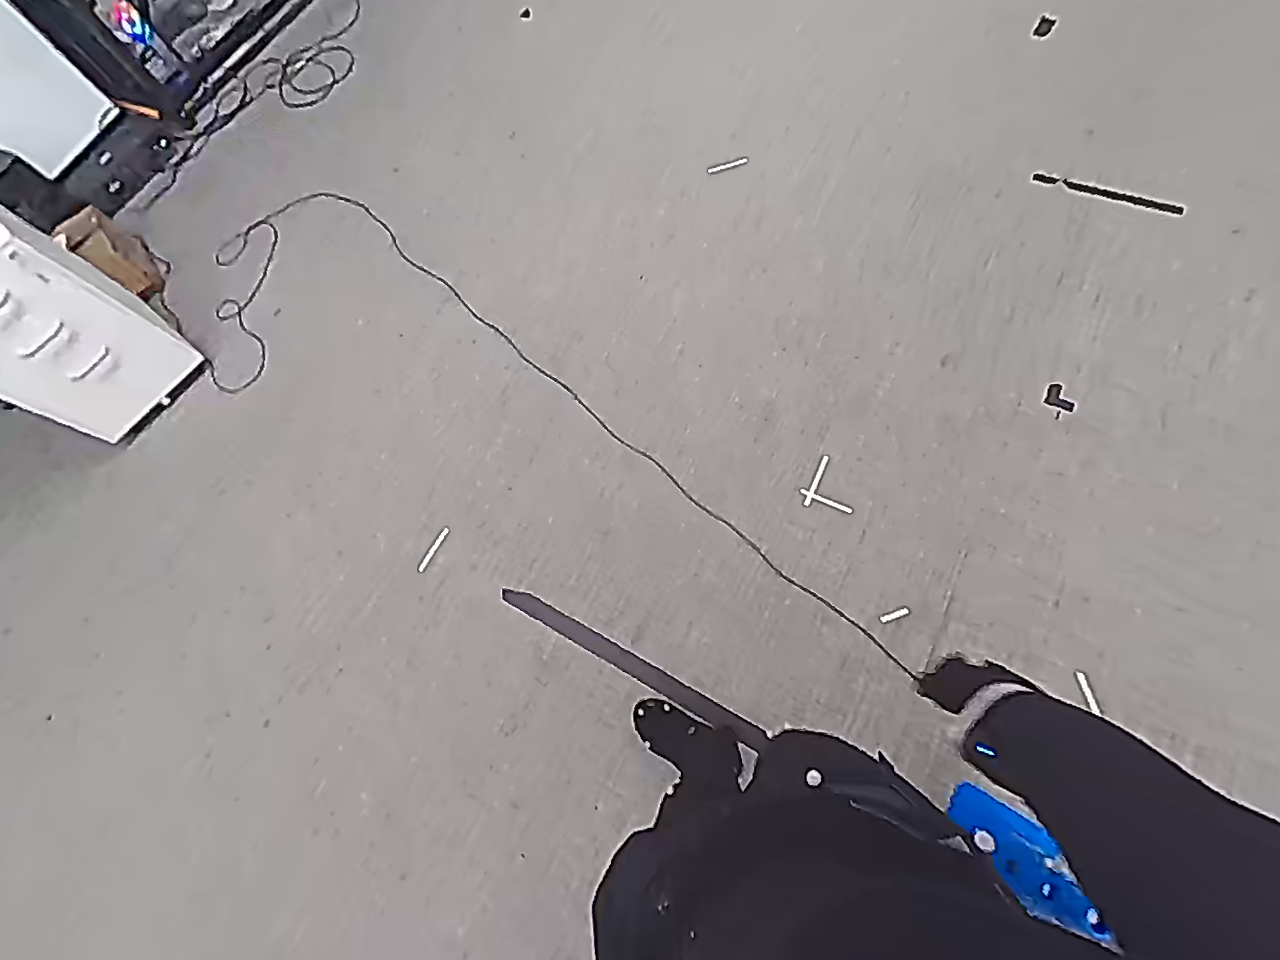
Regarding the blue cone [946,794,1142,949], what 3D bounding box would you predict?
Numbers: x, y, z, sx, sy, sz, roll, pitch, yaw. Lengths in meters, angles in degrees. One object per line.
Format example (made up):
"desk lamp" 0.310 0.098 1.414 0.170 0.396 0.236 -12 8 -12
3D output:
"blue cone" 0.694 0.692 0.918 0.192 0.380 0.193 27 75 19
